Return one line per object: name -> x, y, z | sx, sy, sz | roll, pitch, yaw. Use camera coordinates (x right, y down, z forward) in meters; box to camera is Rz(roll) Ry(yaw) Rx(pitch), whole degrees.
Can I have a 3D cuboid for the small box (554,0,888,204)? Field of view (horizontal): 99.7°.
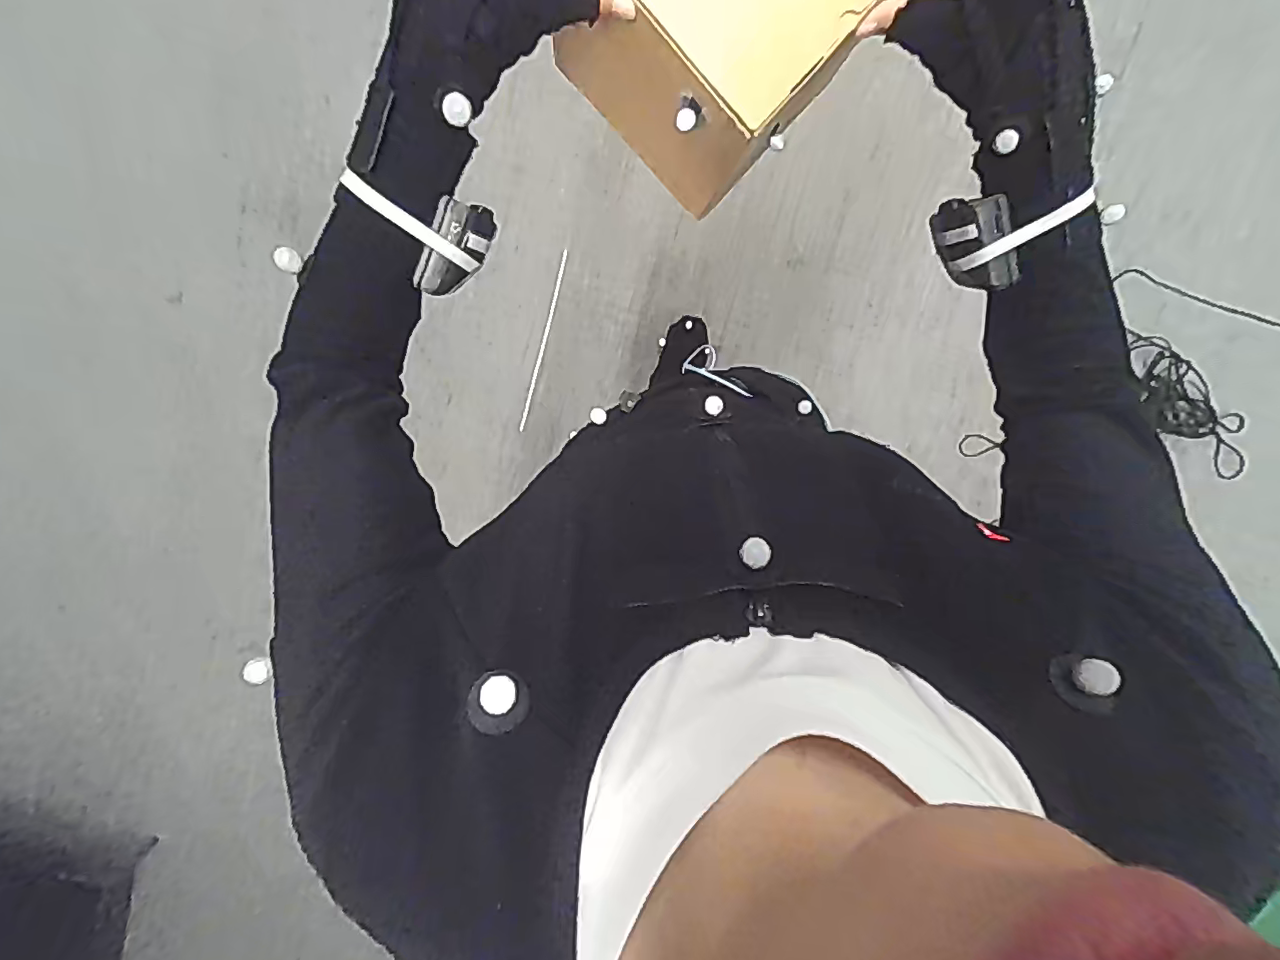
small box -> 0.051, -0.340, 0.386 | 0.168, 0.176, 0.179 | -45, 103, 2
